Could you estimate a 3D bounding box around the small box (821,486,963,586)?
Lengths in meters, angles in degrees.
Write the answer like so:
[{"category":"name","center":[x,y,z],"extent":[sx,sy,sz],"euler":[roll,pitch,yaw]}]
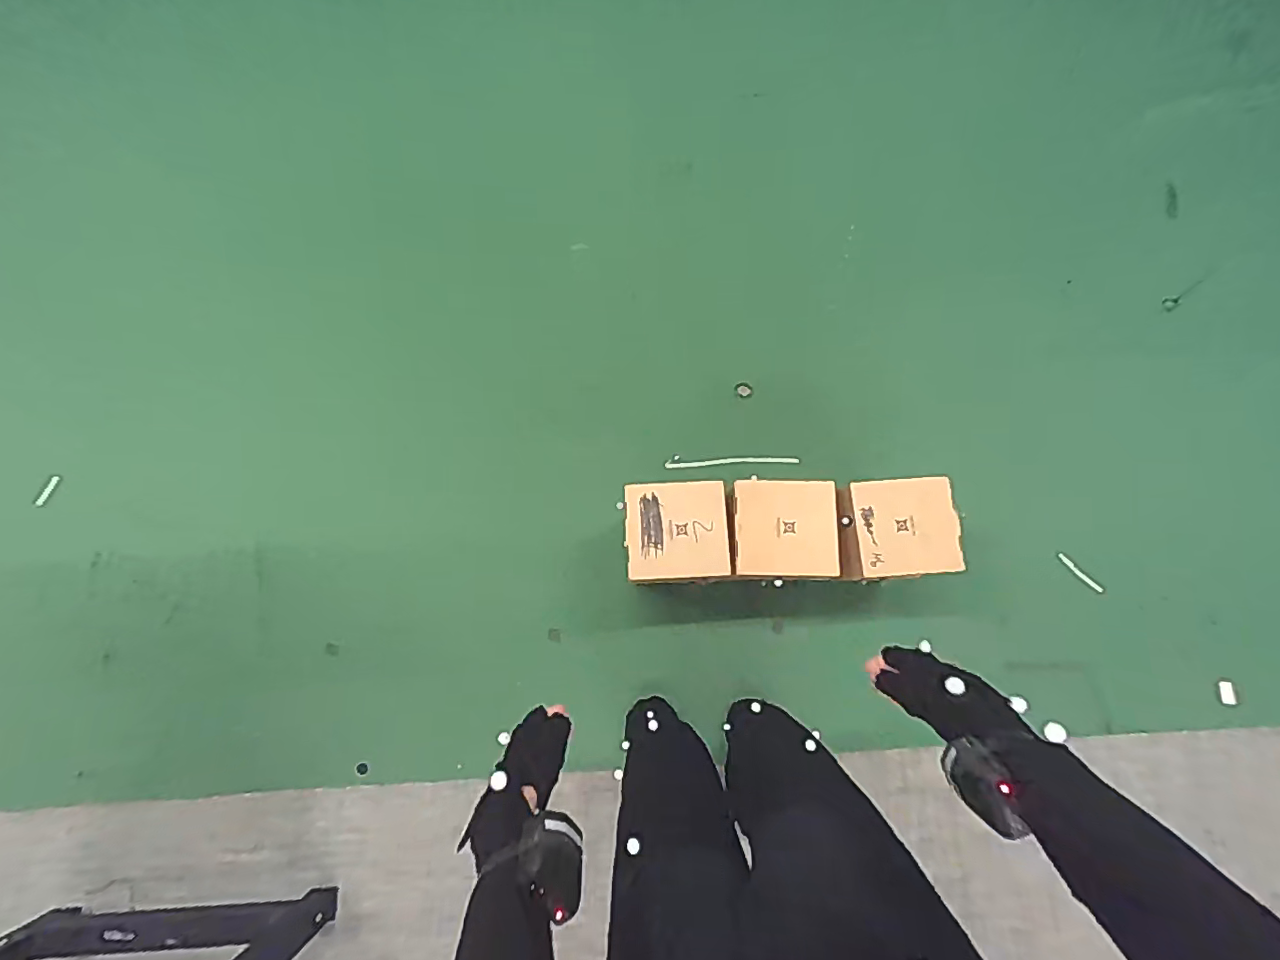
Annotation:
[{"category":"small box","center":[0.455,0.108,1.002],"extent":[0.179,0.176,0.168],"euler":[-3,77,0]}]
